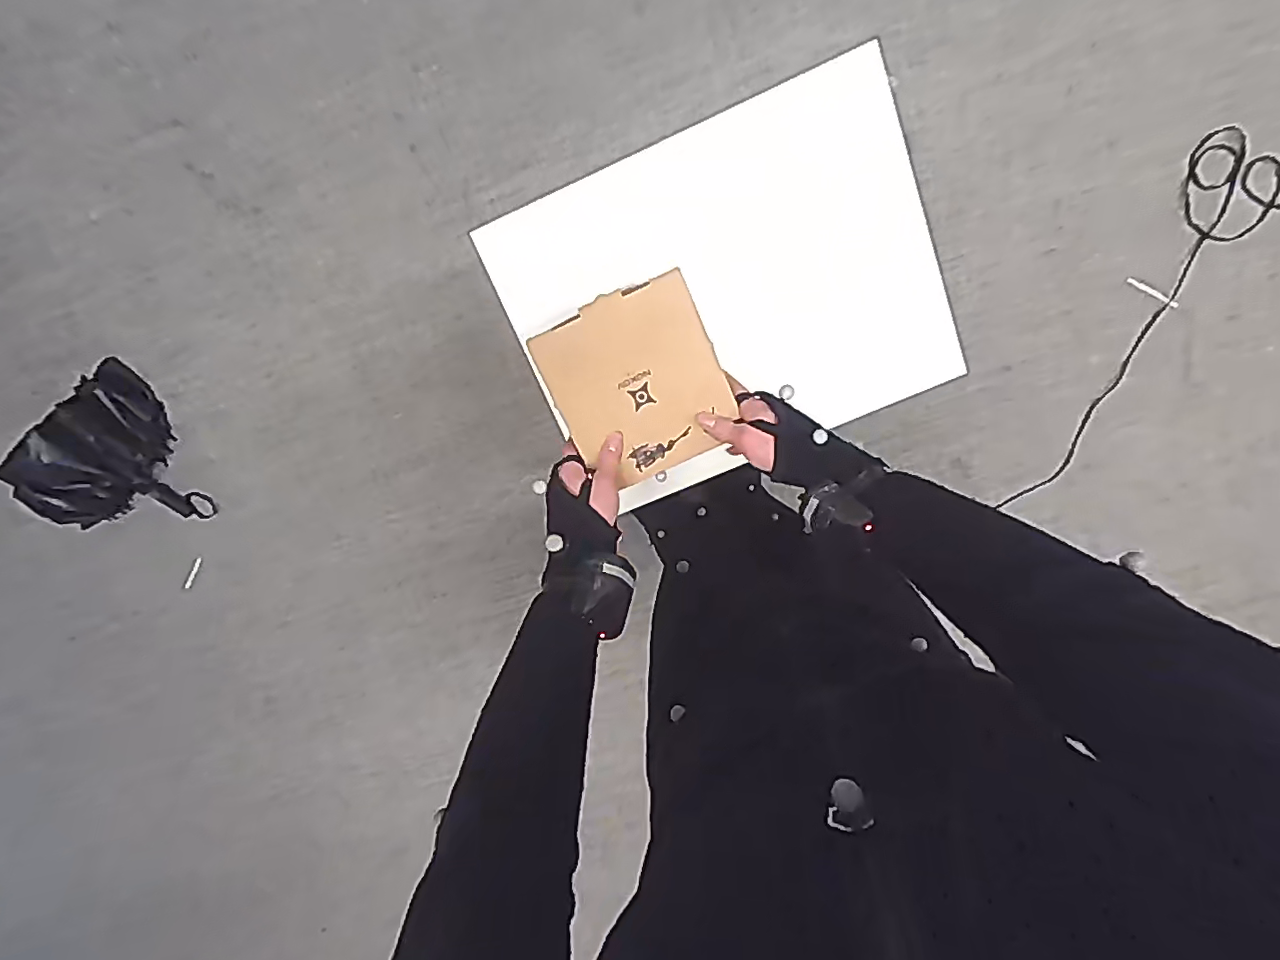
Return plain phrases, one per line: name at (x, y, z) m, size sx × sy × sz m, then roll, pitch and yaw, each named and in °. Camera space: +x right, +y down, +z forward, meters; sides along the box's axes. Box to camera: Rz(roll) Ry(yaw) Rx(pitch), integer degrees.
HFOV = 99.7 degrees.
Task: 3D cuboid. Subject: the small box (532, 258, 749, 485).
small box at (0.002, -0.121, 0.610) m, size 0.168 × 0.176 × 0.179 m, roll -25°, pitch 105°, yaw 7°
